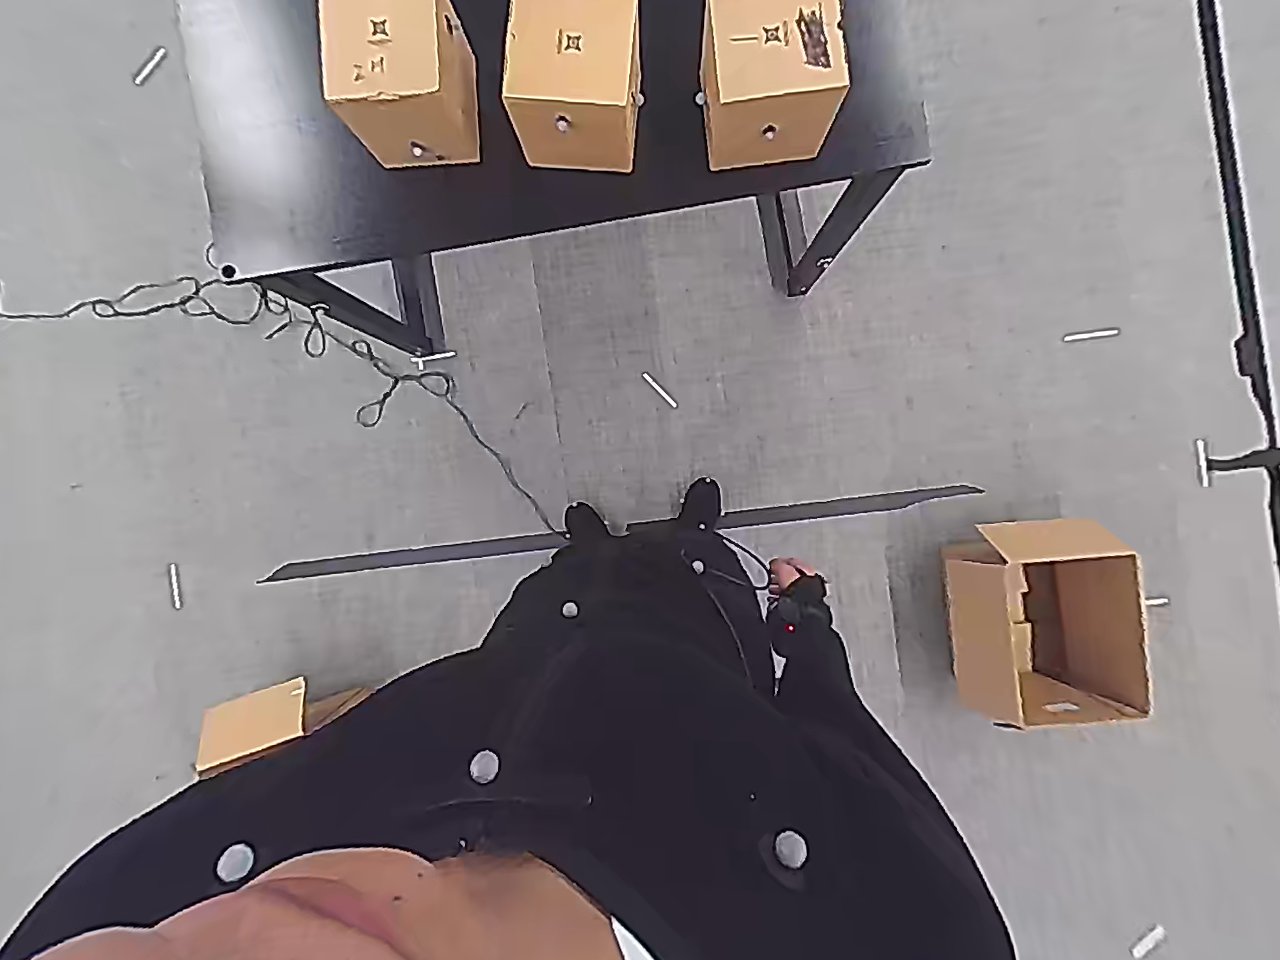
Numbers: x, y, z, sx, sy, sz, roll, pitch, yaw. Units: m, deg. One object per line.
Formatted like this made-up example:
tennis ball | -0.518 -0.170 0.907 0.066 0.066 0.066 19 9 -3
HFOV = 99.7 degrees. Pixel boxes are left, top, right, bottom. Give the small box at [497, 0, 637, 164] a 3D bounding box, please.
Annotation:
small box | -0.098 -0.601 0.809 0.179 0.176 0.168 5 91 3

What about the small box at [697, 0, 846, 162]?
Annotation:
small box | 0.182 -0.603 0.795 0.179 0.176 0.168 -6 90 3

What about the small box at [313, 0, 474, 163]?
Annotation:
small box | -0.361 -0.617 0.816 0.168 0.176 0.179 -3 91 3
